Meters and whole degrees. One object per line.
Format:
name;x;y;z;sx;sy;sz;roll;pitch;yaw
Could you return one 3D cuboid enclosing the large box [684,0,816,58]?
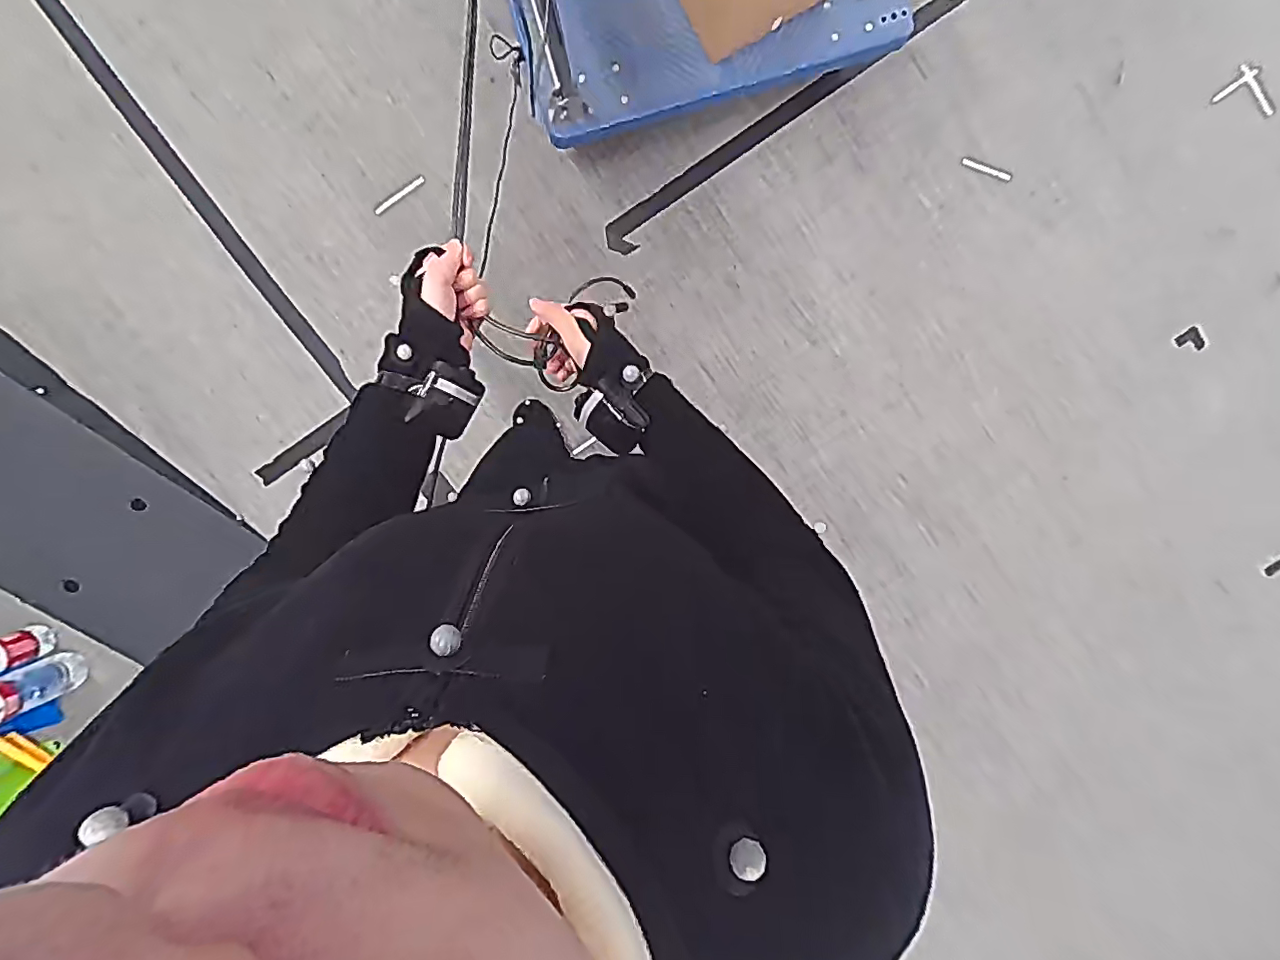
large box;0.206;-1.174;1.047;0.320;0.320;0.408;-30;97;2
